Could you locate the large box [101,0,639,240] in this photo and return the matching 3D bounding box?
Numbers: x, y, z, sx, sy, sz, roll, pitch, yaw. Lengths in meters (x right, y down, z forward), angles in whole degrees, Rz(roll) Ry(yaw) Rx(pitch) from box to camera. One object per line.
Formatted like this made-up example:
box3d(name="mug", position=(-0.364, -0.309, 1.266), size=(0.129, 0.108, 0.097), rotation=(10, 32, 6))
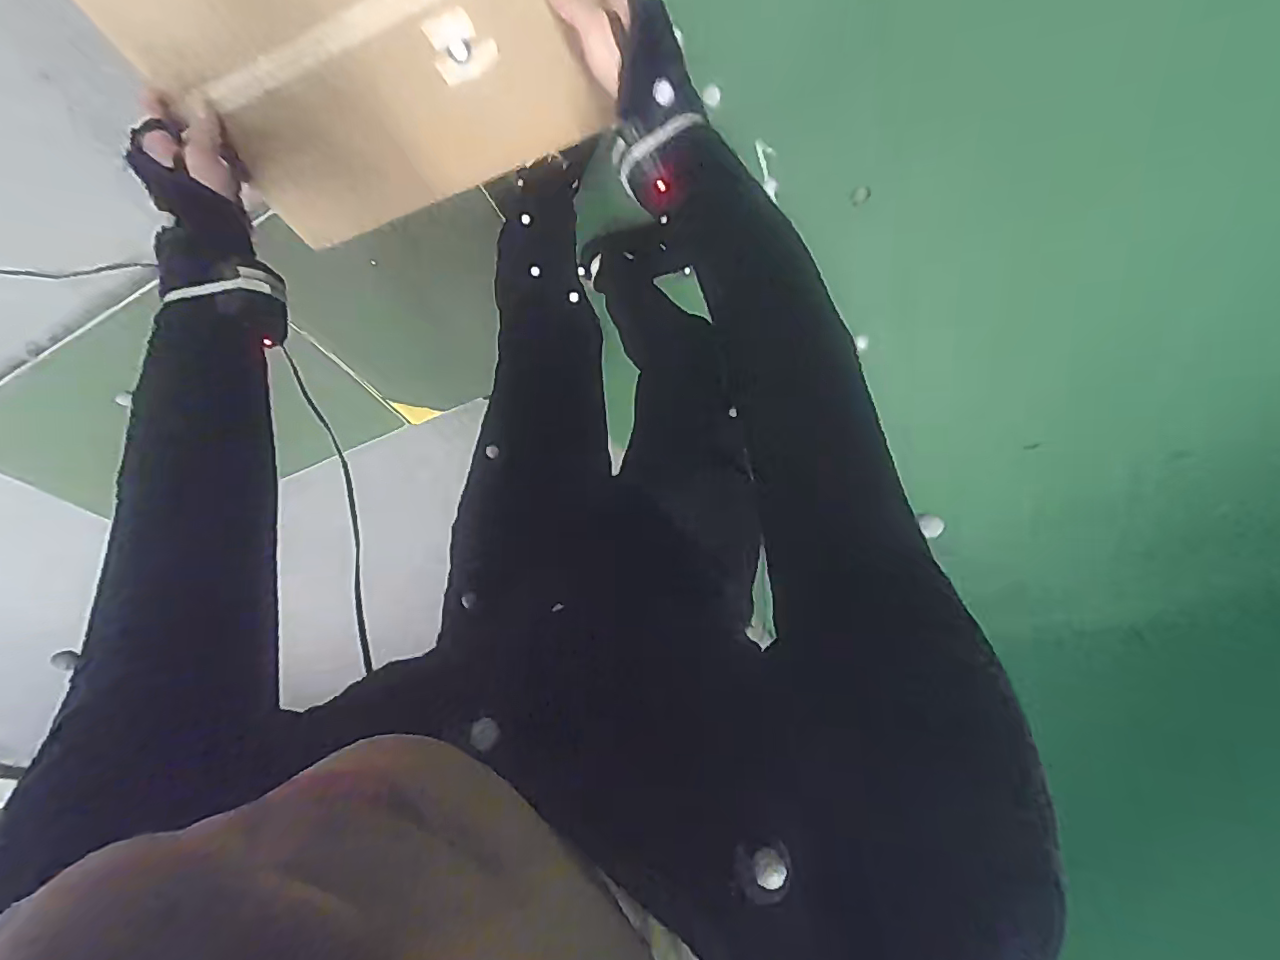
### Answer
box3d(name="large box", position=(-0.252, -0.531, 0.552), size=(0.408, 0.320, 0.320), rotation=(-17, 145, 12))
